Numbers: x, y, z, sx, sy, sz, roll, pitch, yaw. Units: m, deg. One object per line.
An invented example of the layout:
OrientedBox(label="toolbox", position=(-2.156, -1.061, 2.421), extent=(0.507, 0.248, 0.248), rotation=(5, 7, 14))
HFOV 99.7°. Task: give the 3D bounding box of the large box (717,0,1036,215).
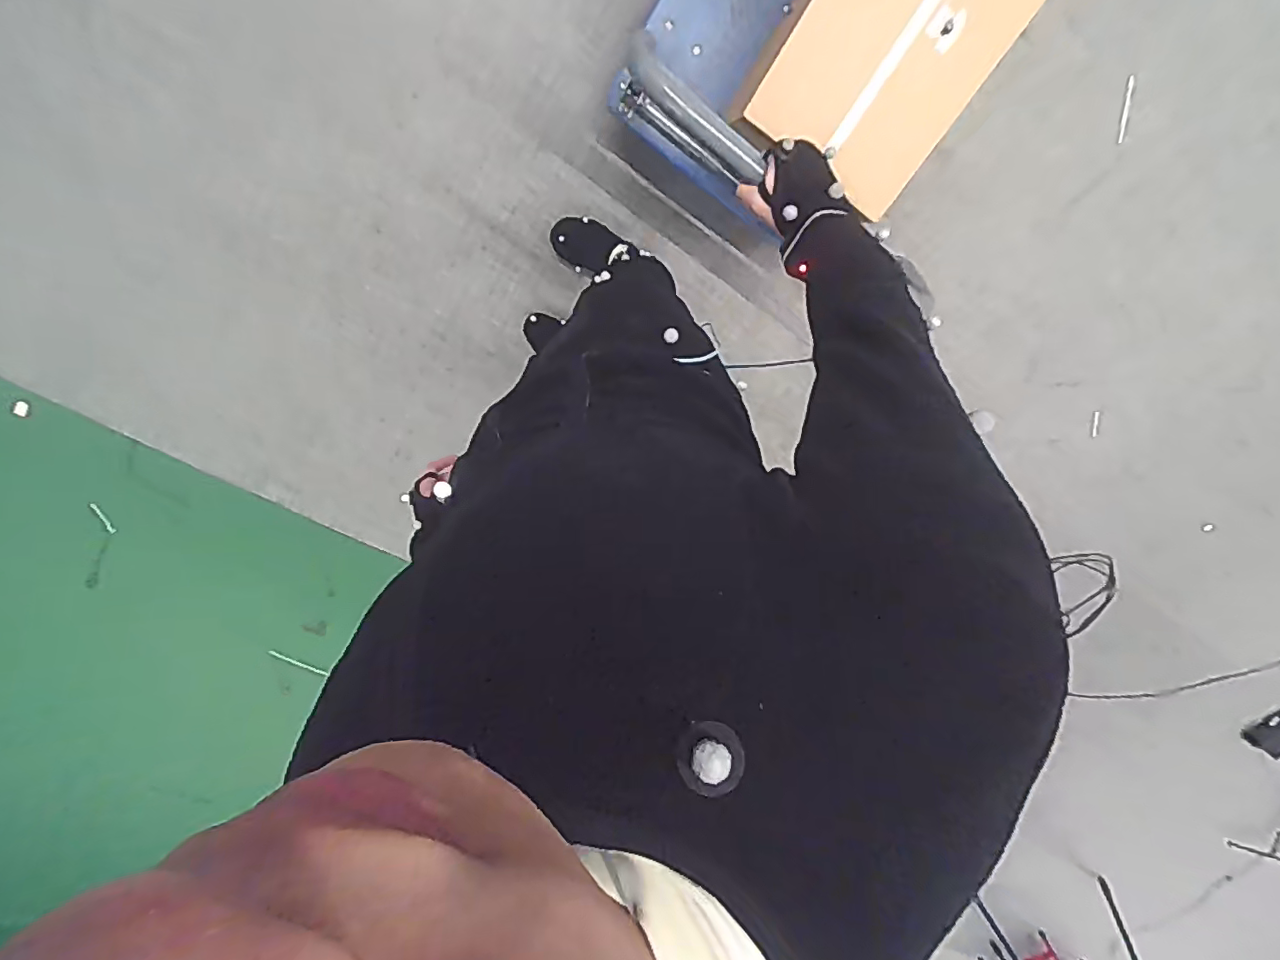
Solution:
OrientedBox(label="large box", position=(0.396, -0.761, 0.993), extent=(0.320, 0.320, 0.408), rotation=(28, 113, -17))
